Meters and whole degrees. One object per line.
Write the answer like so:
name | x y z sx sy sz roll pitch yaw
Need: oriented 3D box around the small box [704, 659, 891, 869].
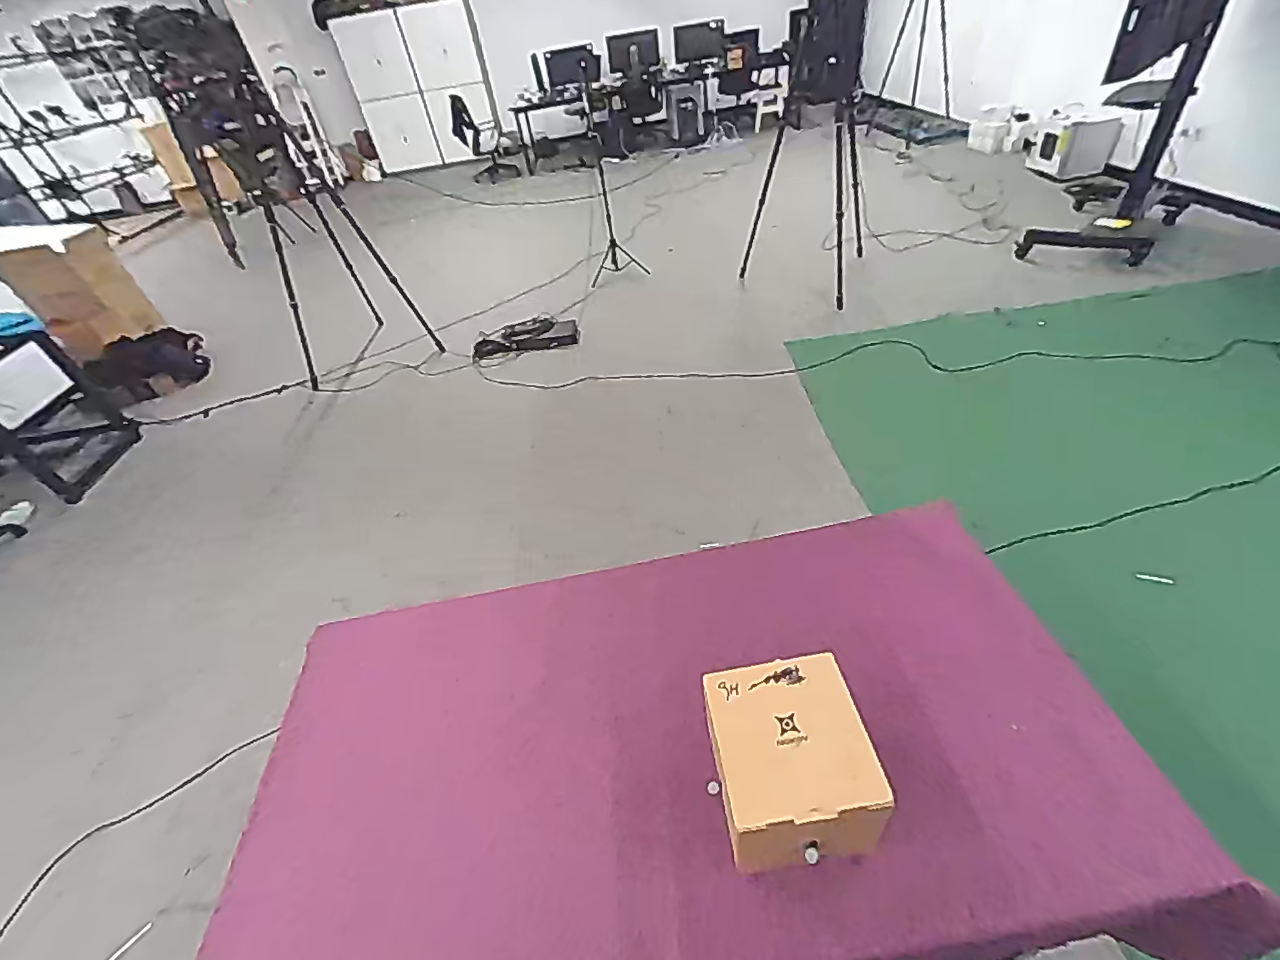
small box | 0.178 0.349 0.659 0.168 0.176 0.179 -10 42 0
